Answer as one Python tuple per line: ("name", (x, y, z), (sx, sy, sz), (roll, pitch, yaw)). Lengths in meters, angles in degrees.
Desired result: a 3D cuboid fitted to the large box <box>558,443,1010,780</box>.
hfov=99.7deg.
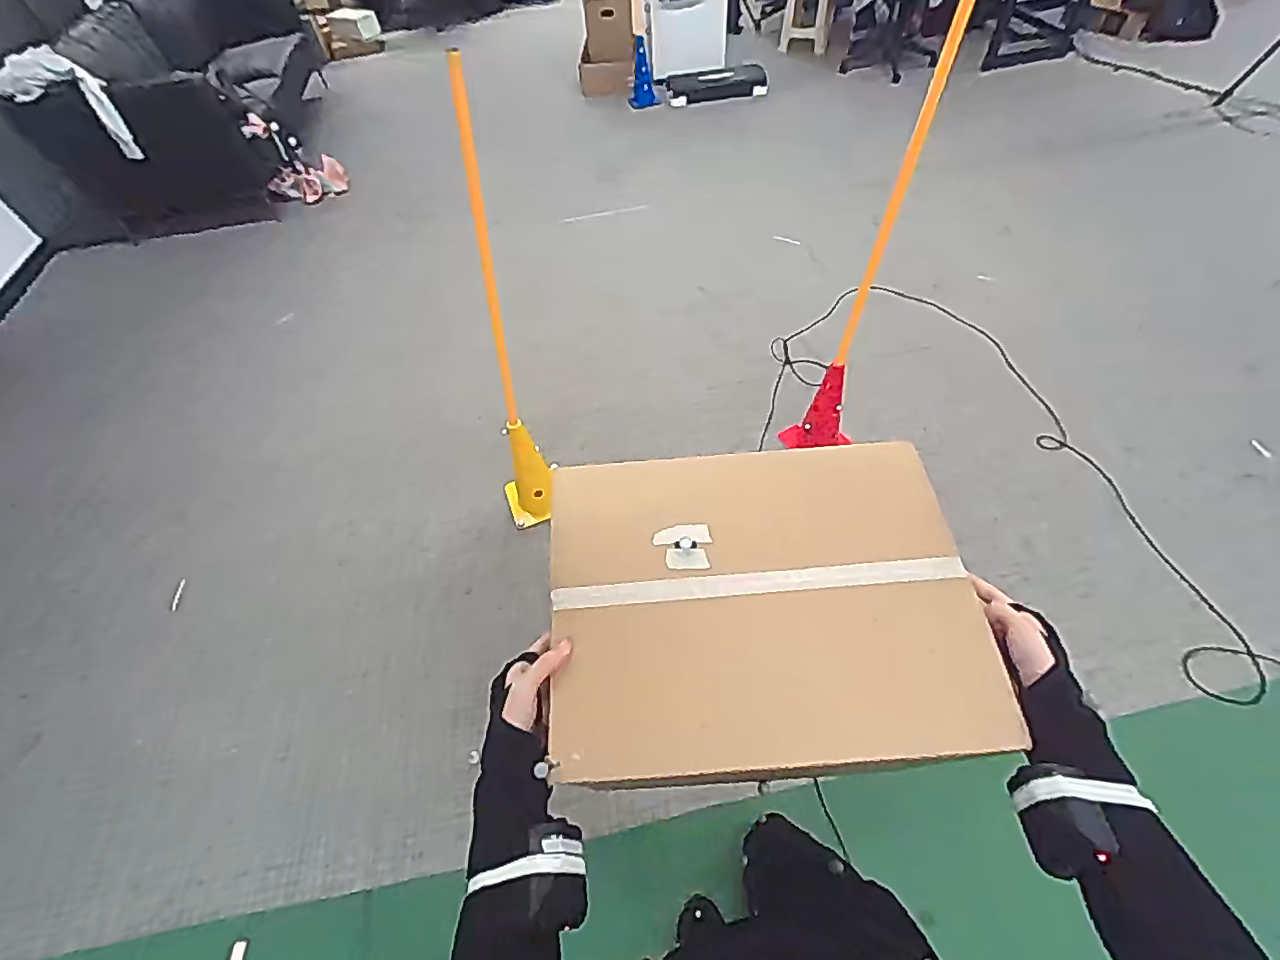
("large box", (0.126, 0.182, 0.673), (0.408, 0.320, 0.320), (-5, 59, 1))
